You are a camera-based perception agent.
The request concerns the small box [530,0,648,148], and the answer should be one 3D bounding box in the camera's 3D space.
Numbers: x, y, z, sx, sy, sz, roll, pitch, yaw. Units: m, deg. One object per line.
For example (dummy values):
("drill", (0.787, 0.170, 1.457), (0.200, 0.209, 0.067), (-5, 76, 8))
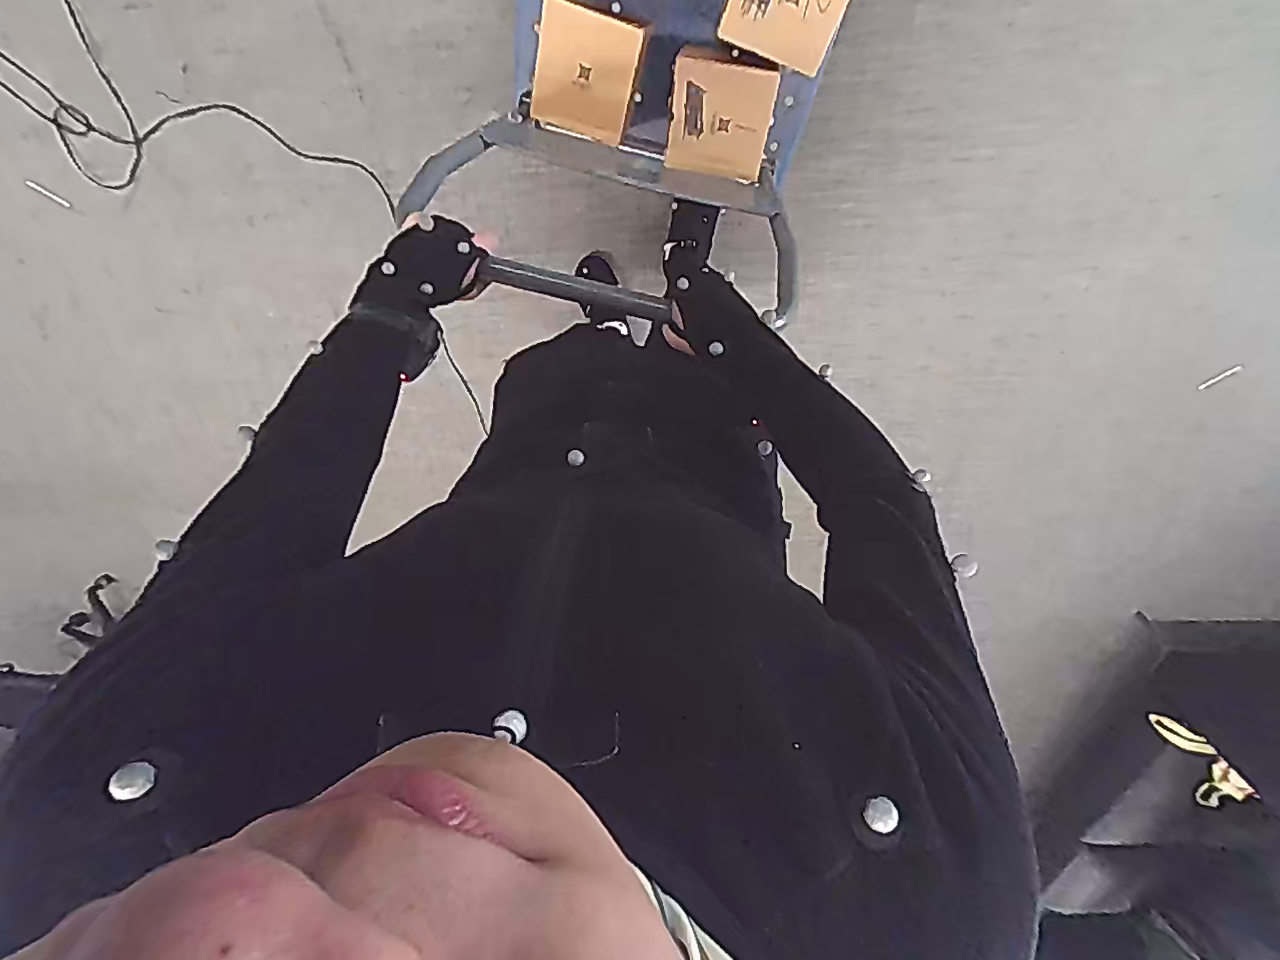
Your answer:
("small box", (-0.087, -0.736, 0.968), (0.168, 0.176, 0.179), (15, 134, -7))
